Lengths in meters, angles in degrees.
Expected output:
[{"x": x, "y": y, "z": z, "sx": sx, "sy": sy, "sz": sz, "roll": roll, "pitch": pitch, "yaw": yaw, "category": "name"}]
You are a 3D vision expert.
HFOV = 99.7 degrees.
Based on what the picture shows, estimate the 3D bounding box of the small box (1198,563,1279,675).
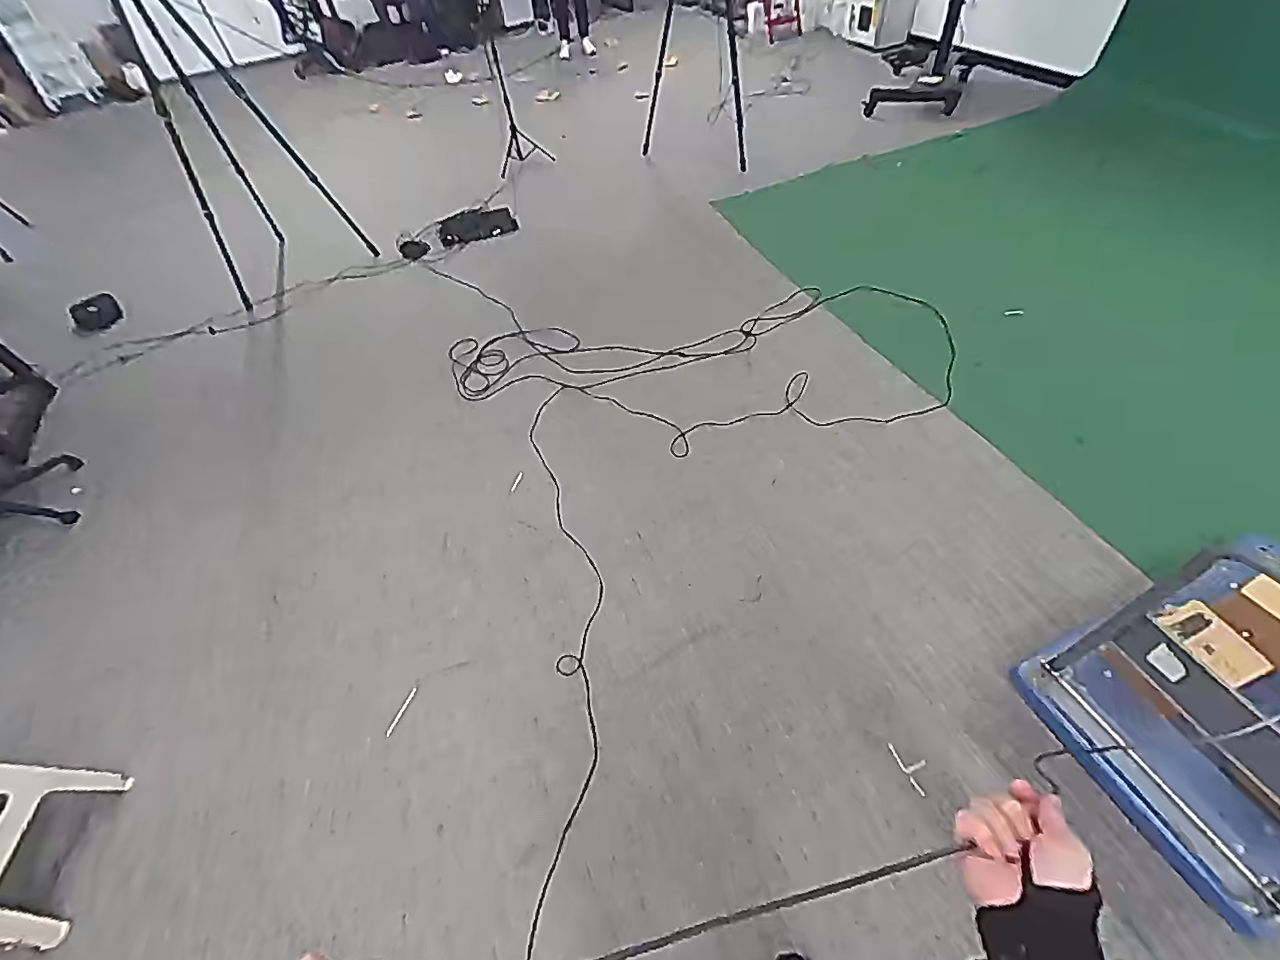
[{"x": 1.492, "y": 0.329, "z": 1.273, "sx": 0.179, "sy": 0.176, "sz": 0.168, "roll": -25, "pitch": 53, "yaw": -12, "category": "small box"}]

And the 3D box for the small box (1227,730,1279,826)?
[{"x": 1.361, "y": 0.595, "z": 1.077, "sx": 0.179, "sy": 0.176, "sz": 0.168, "roll": -22, "pitch": 52, "yaw": -9, "category": "small box"}]
